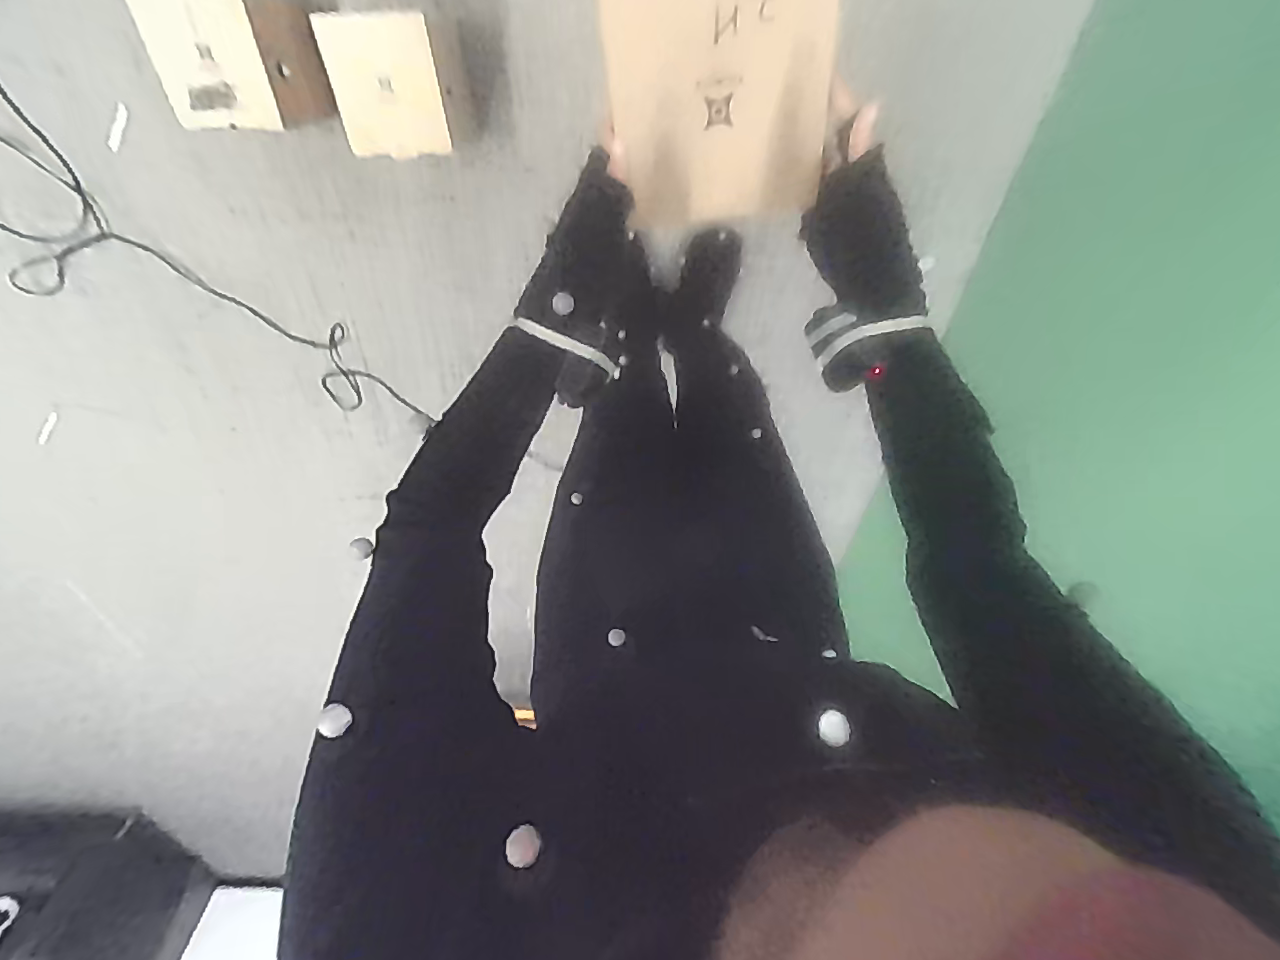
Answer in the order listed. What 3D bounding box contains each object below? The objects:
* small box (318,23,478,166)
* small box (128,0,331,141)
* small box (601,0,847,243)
[{"bbox_3d":[-0.378,-0.627,0.882,0.168,0.176,0.179,-1,130,2],"label":"small box"},{"bbox_3d":[-0.630,-0.655,0.860,0.168,0.176,0.179,1,128,0],"label":"small box"},{"bbox_3d":[0.060,-0.329,0.461,0.168,0.176,0.179,-6,134,2],"label":"small box"}]
